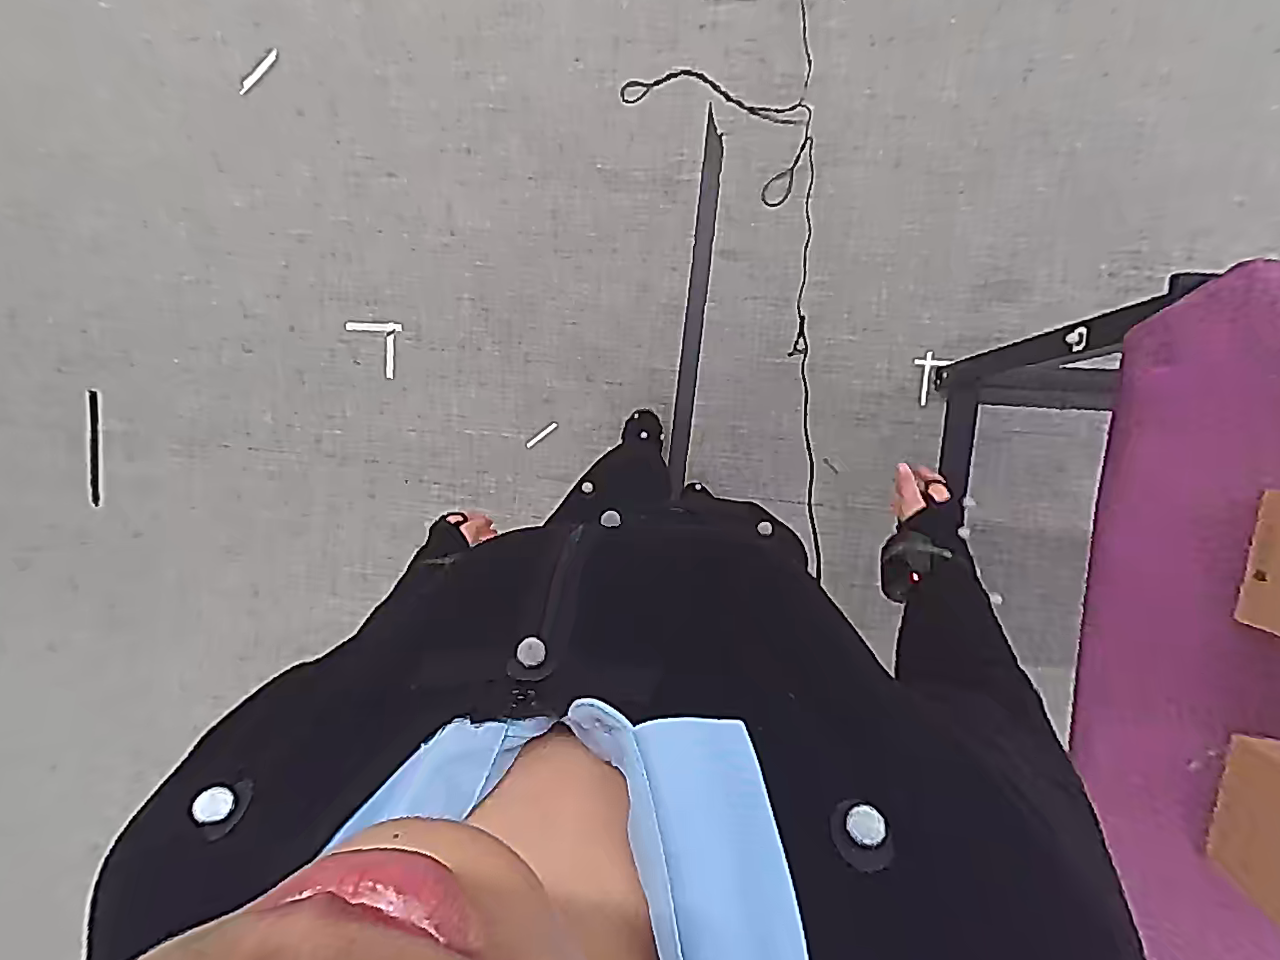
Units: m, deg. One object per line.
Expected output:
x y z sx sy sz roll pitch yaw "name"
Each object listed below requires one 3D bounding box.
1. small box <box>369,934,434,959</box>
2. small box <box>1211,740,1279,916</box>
-0.734 1.515 1.618 0.168 0.176 0.179 -1 95 7 "small box"
0.800 0.419 0.593 0.168 0.176 0.179 8 96 7 "small box"
